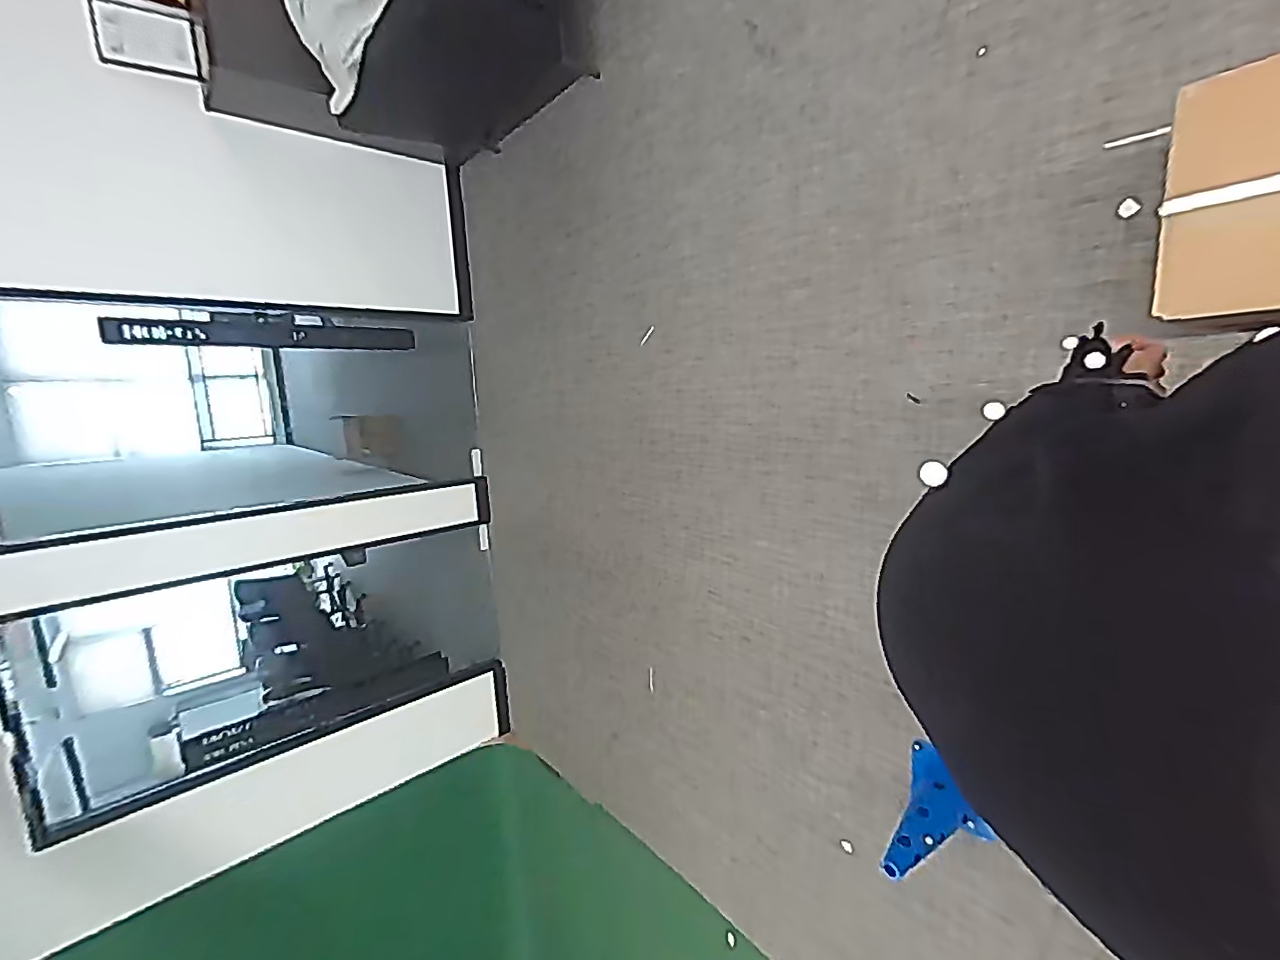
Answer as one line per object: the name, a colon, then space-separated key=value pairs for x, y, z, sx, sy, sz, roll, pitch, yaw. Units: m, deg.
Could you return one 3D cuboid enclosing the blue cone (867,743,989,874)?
blue cone: x=0.660 y=0.815 z=1.284 sx=0.192 sy=0.380 sz=0.193 roll=10 pitch=105 yaw=49
